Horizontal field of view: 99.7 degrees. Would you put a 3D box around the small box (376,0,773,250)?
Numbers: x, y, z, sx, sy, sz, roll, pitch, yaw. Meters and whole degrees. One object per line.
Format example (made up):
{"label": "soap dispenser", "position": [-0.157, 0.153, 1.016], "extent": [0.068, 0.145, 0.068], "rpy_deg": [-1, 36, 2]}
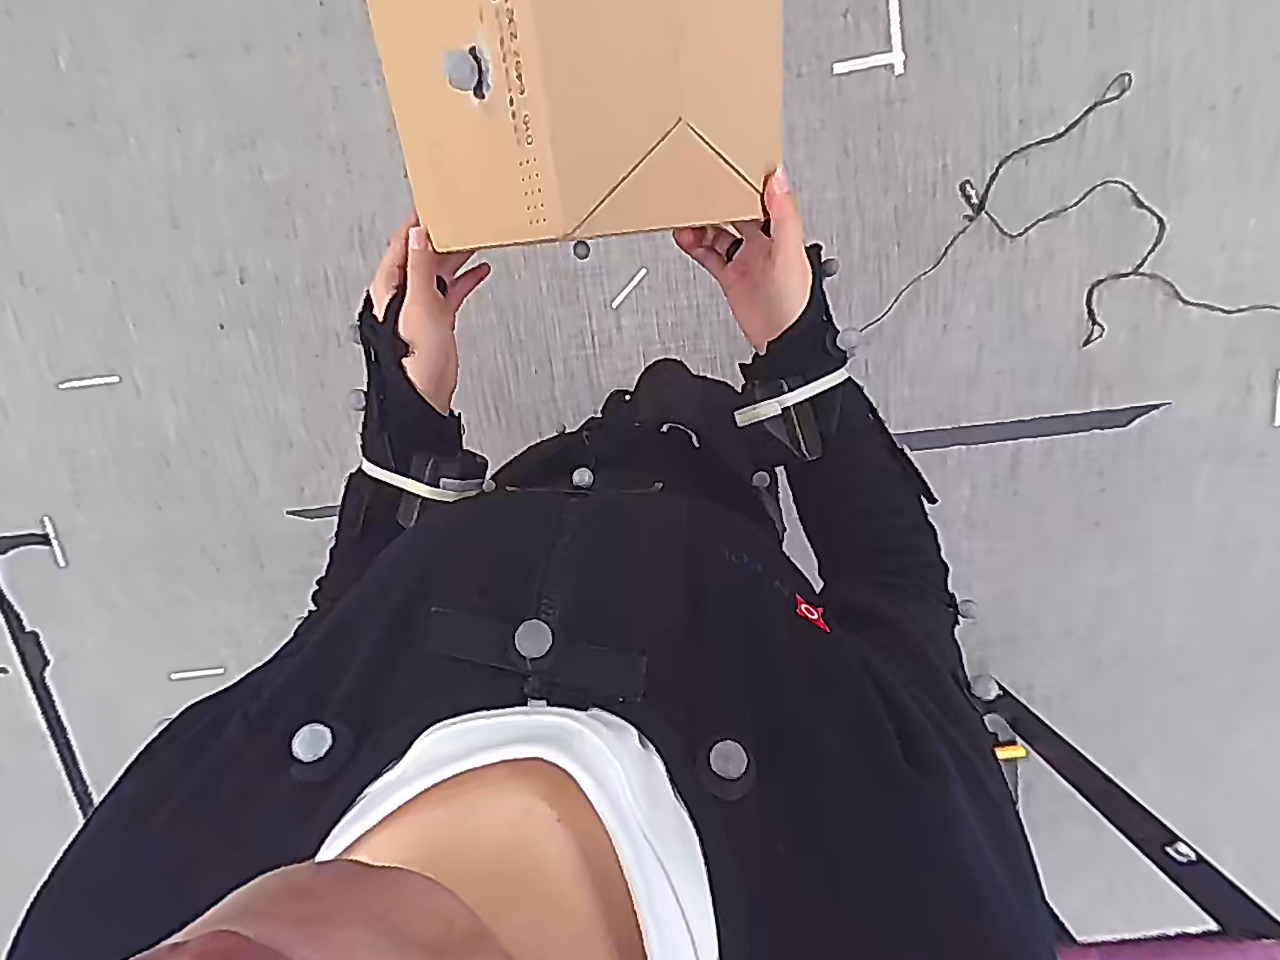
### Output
{"label": "small box", "position": [-0.033, -0.240, 0.334], "extent": [0.179, 0.176, 0.168], "rpy_deg": [-25, 120, -36]}
